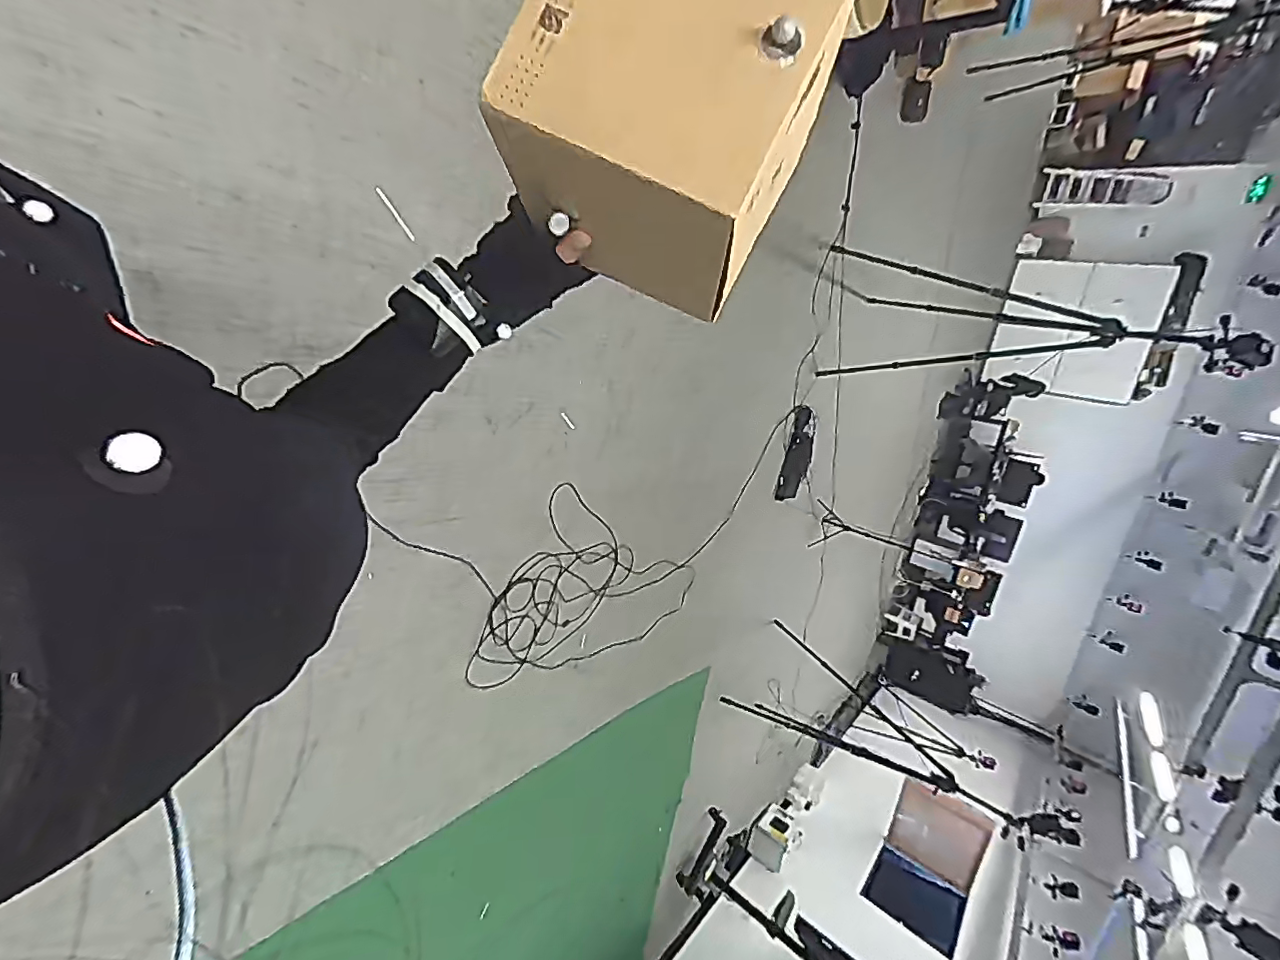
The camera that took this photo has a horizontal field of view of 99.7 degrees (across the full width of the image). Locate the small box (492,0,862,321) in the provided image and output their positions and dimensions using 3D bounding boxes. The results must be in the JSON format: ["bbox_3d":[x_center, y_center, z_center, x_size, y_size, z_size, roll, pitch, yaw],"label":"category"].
[{"bbox_3d":[0.021,-0.248,0.390,0.168,0.176,0.179,-64,177,-2],"label":"small box"}]
